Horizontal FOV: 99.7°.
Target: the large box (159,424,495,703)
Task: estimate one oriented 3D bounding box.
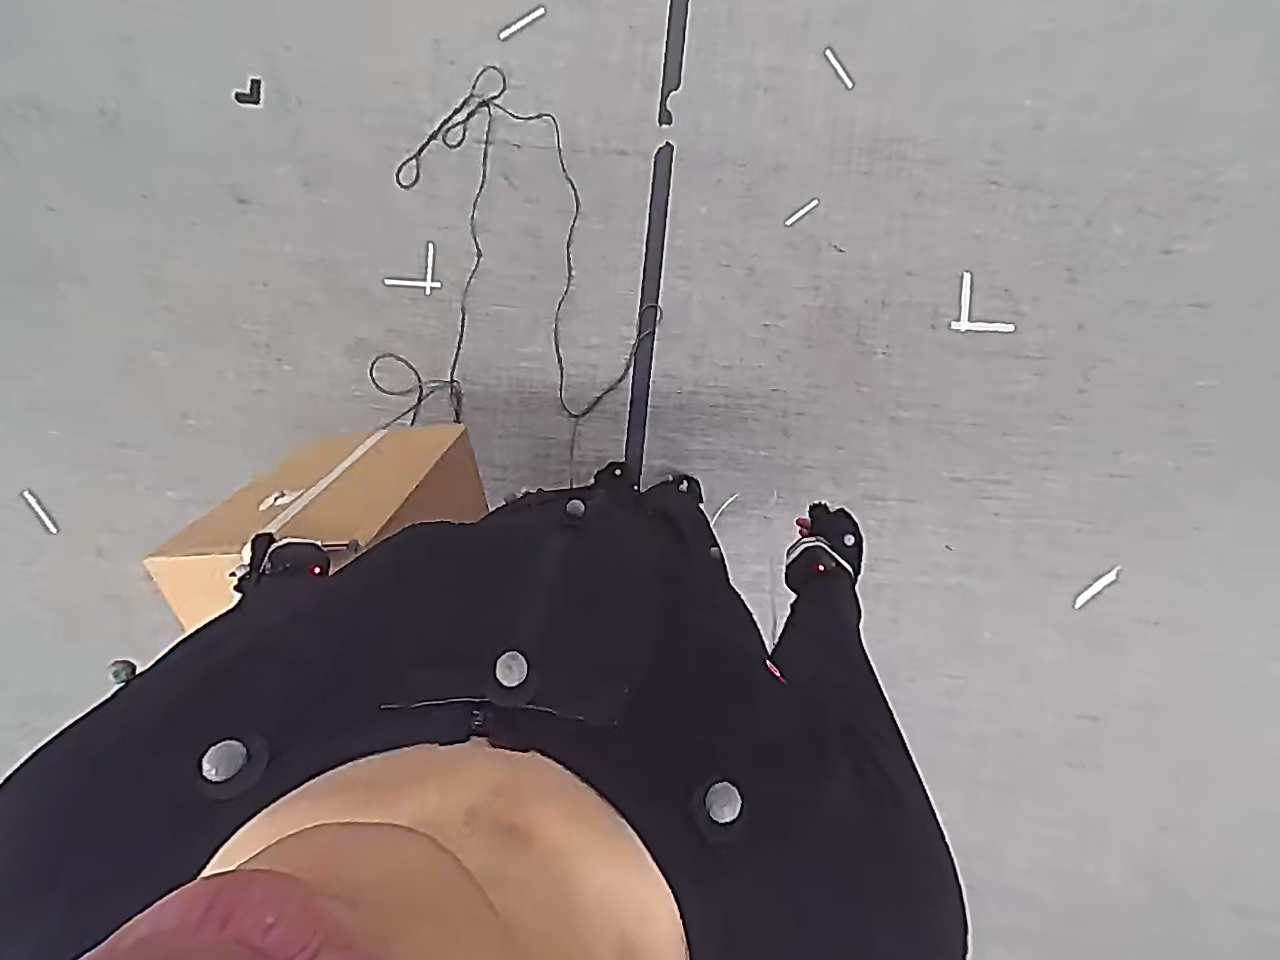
[{"bbox_3d":[-0.484,0.126,0.962,0.320,0.408,0.320,-4,119,5],"label":"large box"}]
